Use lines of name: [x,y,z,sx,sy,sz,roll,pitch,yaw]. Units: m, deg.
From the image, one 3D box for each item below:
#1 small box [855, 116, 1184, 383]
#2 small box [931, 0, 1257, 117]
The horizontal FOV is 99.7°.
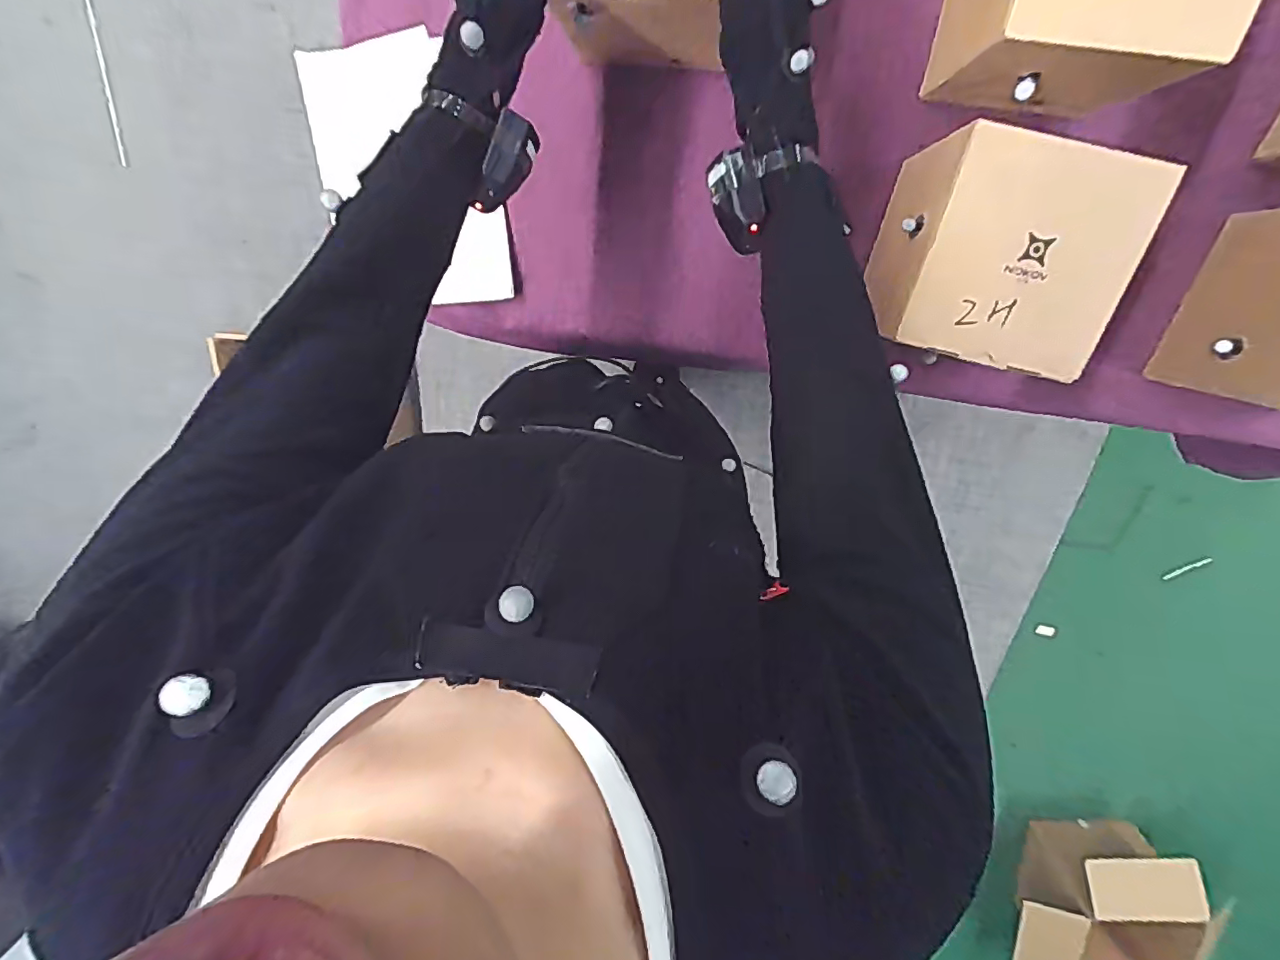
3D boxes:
small box: [0.331,-0.211,0.521,0.168,0.176,0.179,14,112,1]
small box: [0.367,-0.421,0.439,0.168,0.176,0.179,9,111,3]
